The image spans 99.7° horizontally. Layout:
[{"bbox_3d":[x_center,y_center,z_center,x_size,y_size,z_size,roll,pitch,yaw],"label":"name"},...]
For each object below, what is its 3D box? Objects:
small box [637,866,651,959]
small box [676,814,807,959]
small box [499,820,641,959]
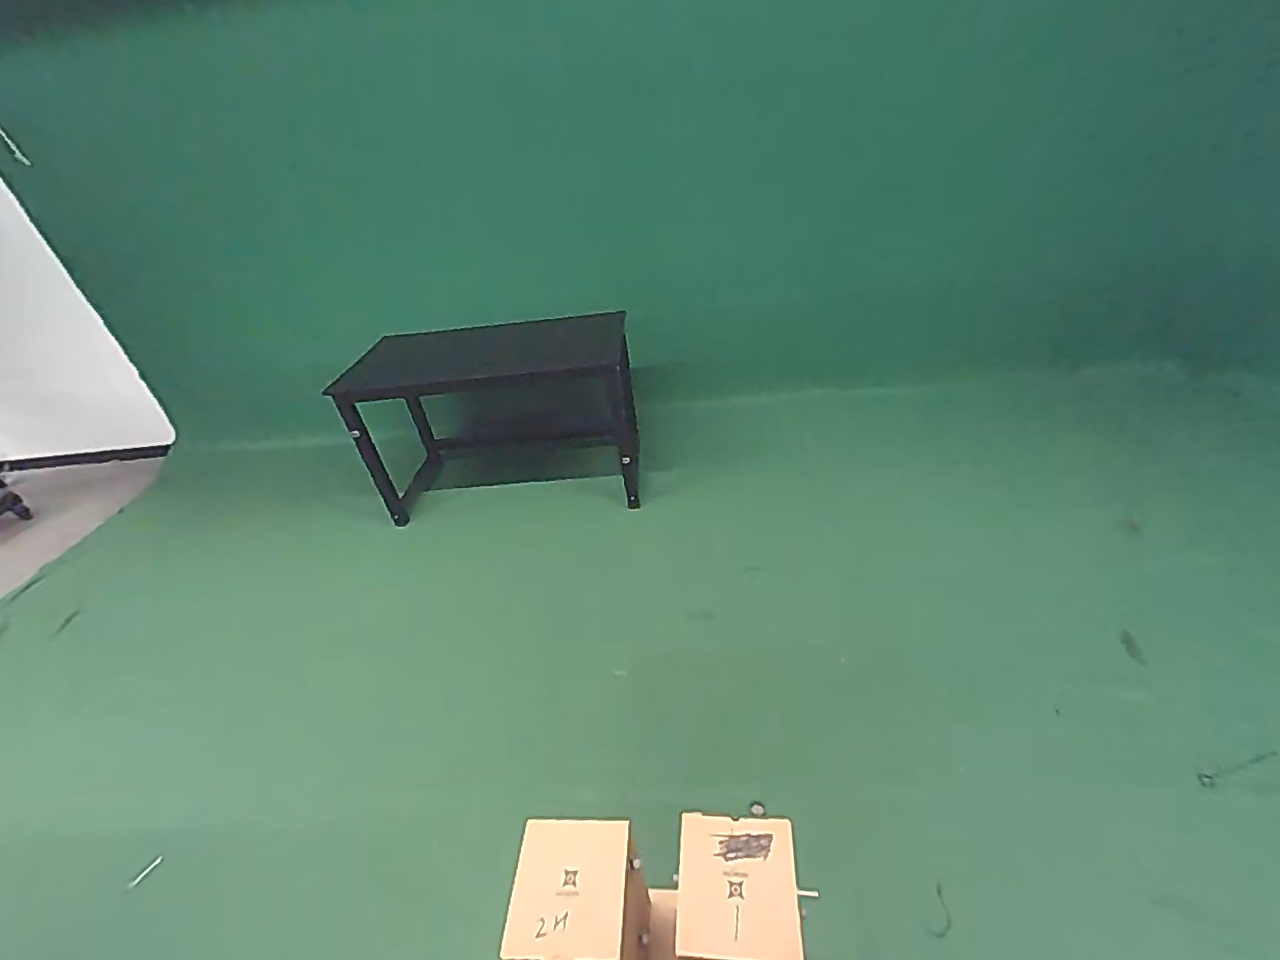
[{"bbox_3d":[-0.074,0.780,0.911,0.168,0.176,0.179,-3,35,8],"label":"small box"},{"bbox_3d":[0.148,0.624,0.788,0.168,0.176,0.179,-3,35,11],"label":"small box"},{"bbox_3d":[-0.092,0.647,0.815,0.168,0.176,0.179,-4,35,7],"label":"small box"}]
